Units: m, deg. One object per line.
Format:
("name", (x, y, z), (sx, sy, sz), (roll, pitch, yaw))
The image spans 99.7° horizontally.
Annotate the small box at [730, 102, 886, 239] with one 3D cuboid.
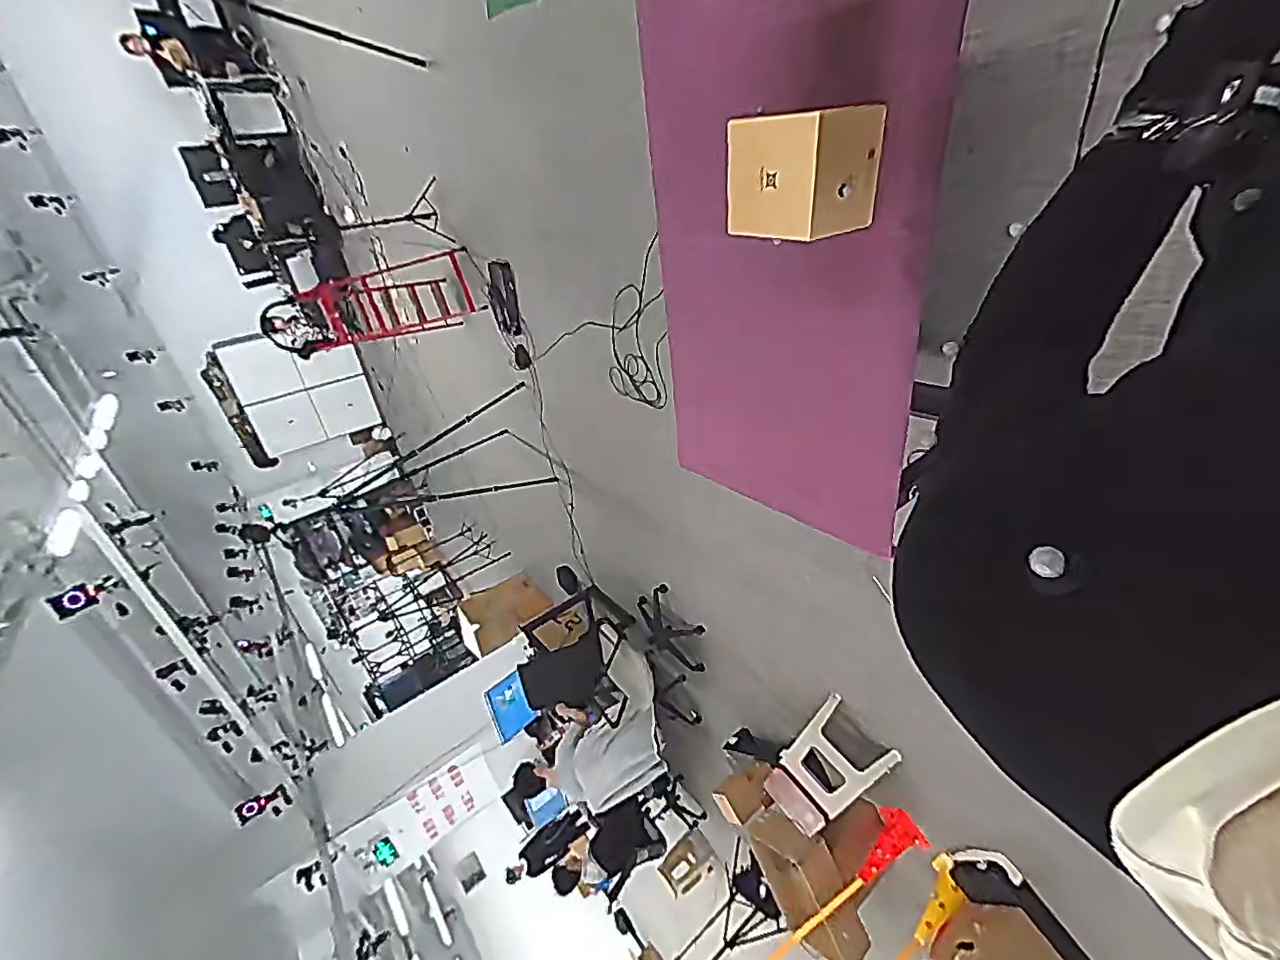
("small box", (0.266, -0.498, 0.870), (0.179, 0.176, 0.168), (33, 139, 44))
